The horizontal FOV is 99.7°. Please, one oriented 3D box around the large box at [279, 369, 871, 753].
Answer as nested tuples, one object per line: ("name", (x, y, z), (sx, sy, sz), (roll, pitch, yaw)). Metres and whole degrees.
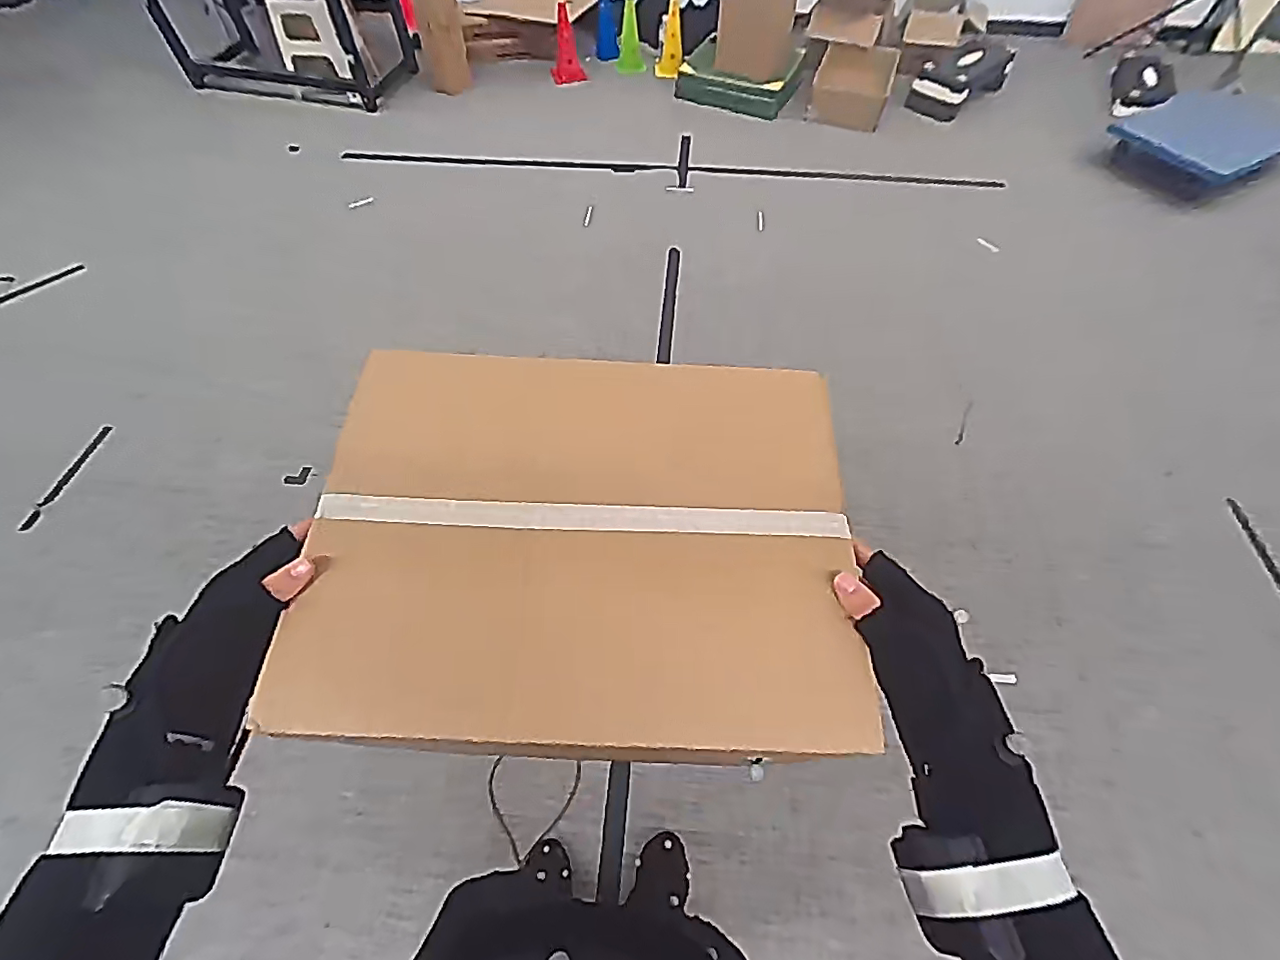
("large box", (-0.041, 0.107, 0.559), (0.408, 0.320, 0.320), (2, 61, -1))
